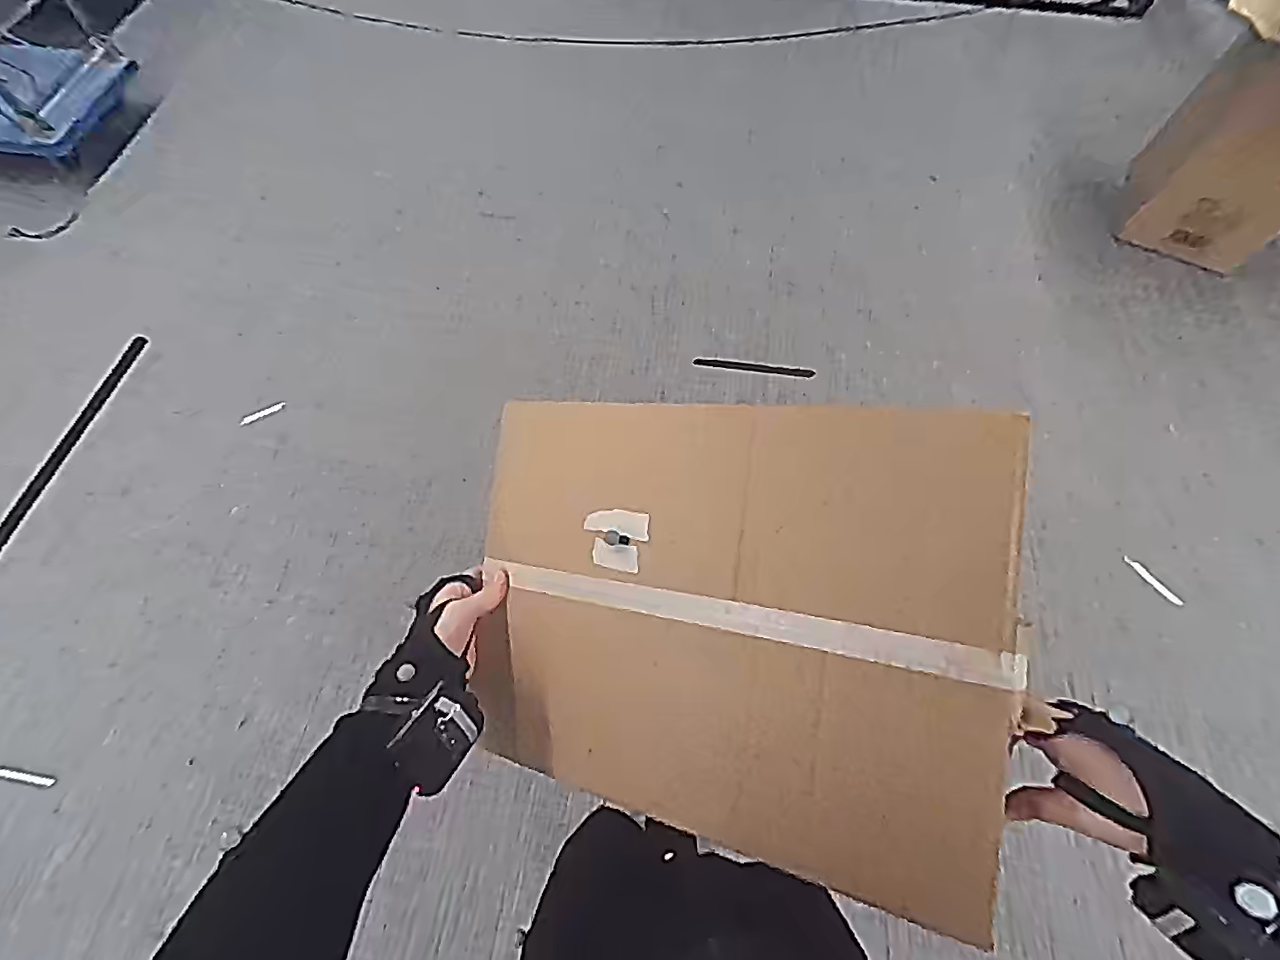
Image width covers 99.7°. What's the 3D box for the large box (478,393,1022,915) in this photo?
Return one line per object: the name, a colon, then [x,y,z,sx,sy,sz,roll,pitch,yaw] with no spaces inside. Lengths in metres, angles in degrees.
large box: [0.111,0.105,0.537,0.408,0.320,0.320,4,85,28]
